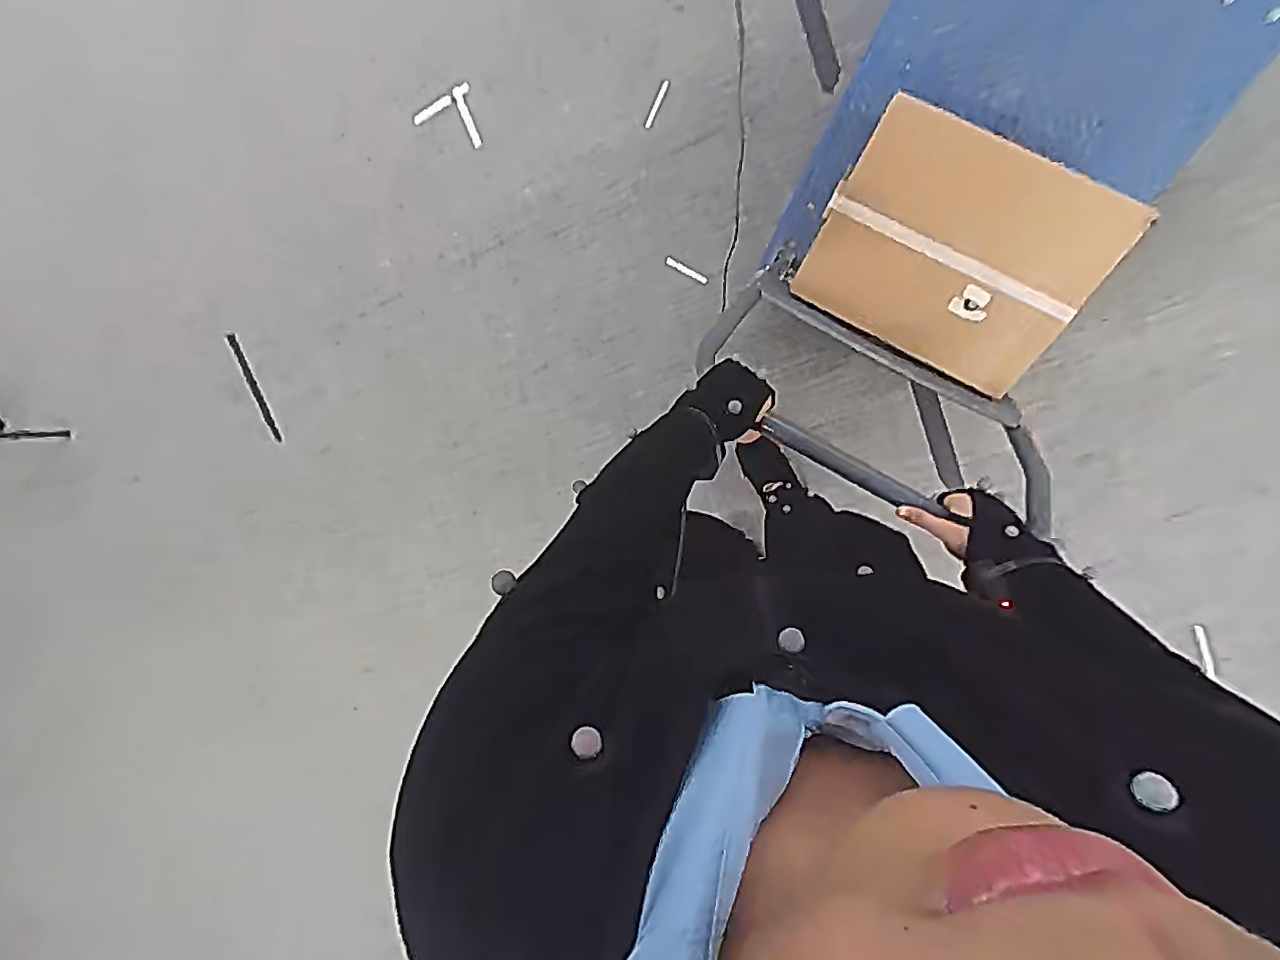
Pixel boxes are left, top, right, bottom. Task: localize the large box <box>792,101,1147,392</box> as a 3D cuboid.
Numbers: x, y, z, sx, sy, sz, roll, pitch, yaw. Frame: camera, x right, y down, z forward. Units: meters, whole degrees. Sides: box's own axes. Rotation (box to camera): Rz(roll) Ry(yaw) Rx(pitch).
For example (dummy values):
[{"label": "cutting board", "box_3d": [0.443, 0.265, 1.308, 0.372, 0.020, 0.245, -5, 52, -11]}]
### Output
[{"label": "large box", "box_3d": [0.543, -0.422, 0.991, 0.408, 0.320, 0.320, 29, 123, 5]}]
